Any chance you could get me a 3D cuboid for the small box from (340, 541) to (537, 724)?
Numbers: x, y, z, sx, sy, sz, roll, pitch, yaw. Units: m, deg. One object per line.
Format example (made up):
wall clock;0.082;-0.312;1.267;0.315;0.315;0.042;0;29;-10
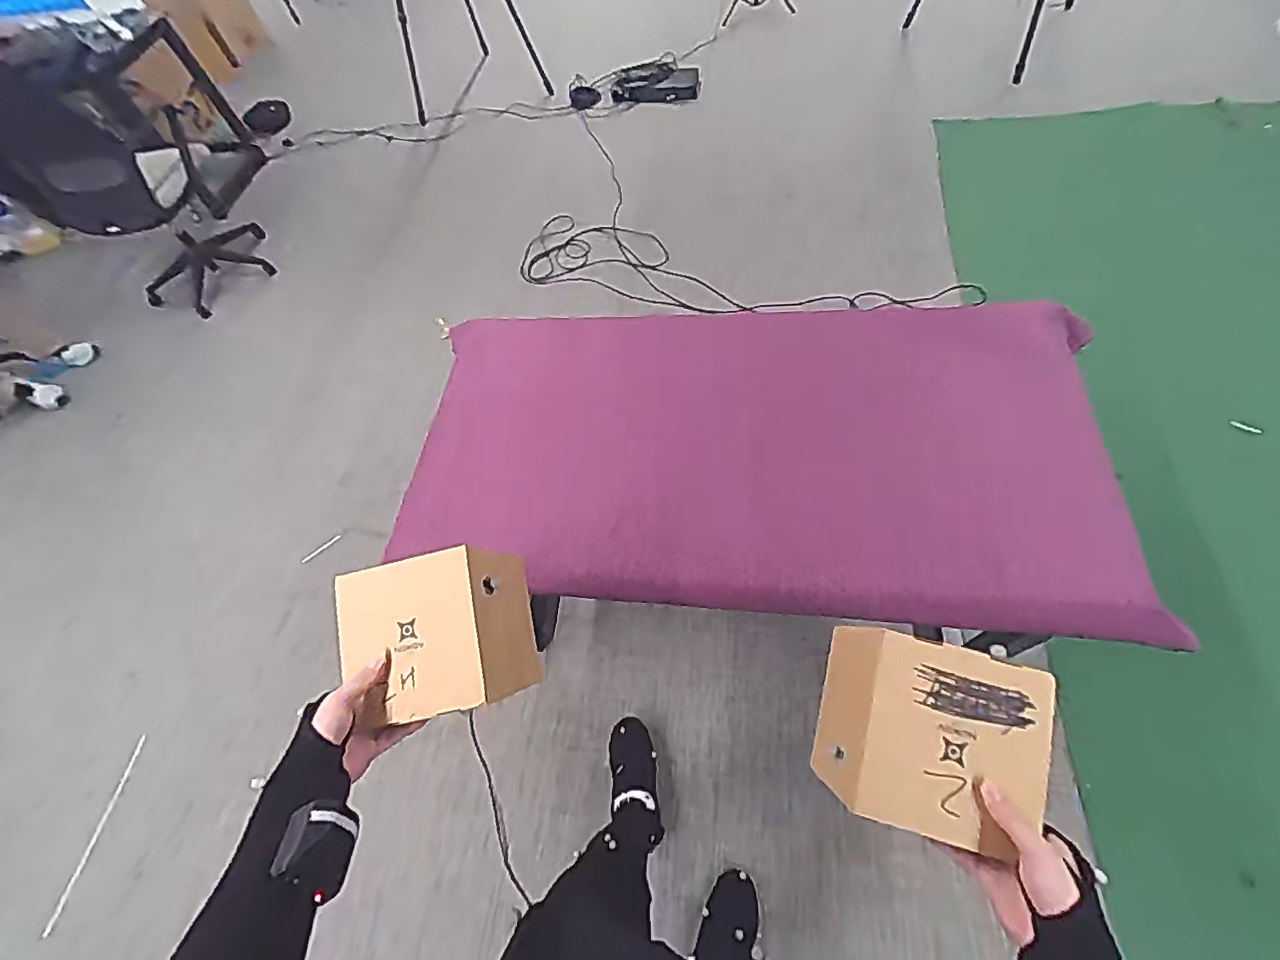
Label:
small box;-0.243;0.186;0.679;0.168;0.176;0.179;-14;75;8
